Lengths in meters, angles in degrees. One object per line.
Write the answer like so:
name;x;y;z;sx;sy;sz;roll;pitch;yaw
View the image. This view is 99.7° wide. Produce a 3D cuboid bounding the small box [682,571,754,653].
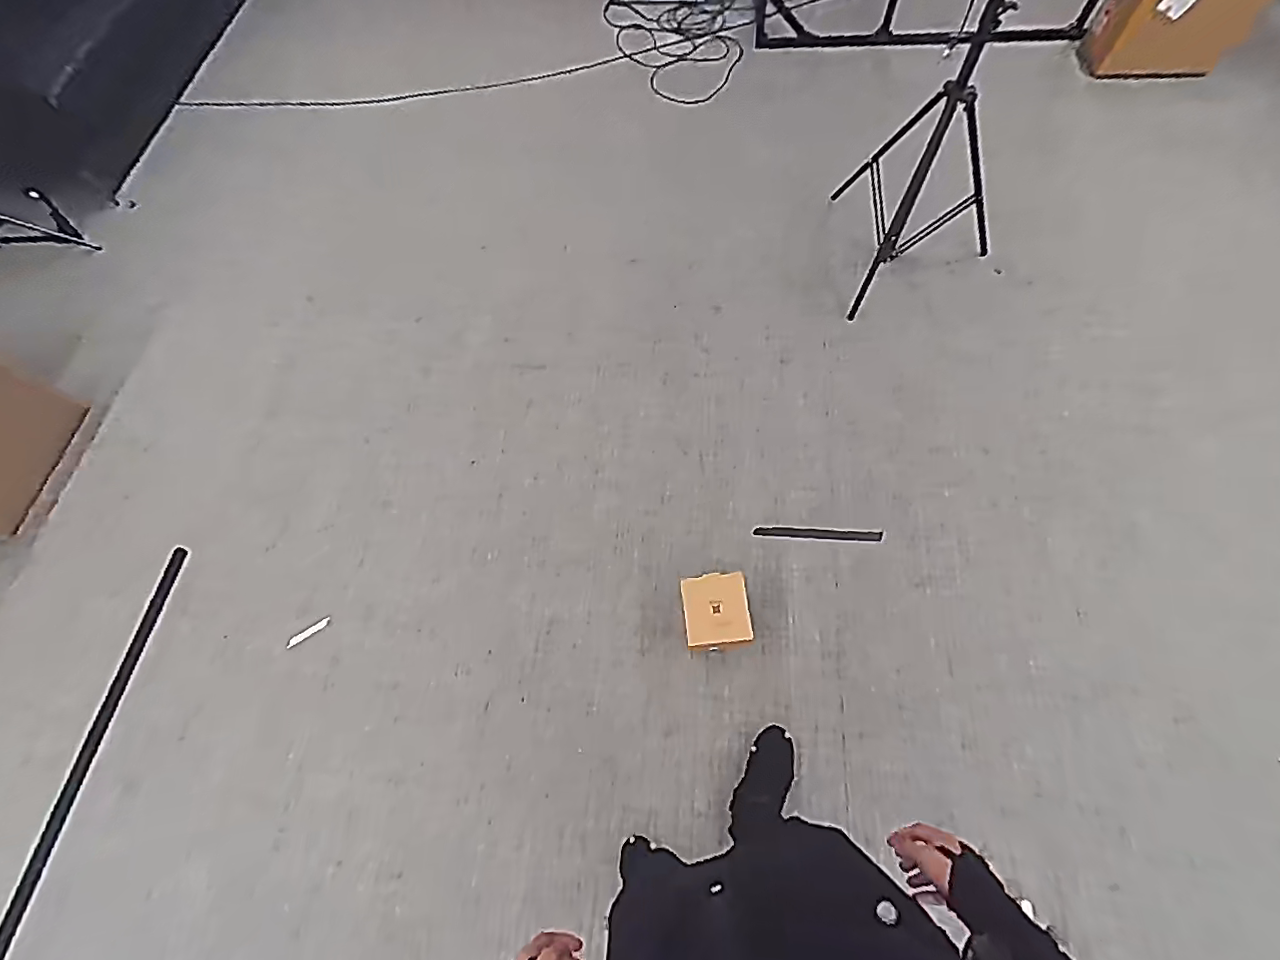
small box;0.200;0.357;1.447;0.168;0.176;0.179;-7;66;3
